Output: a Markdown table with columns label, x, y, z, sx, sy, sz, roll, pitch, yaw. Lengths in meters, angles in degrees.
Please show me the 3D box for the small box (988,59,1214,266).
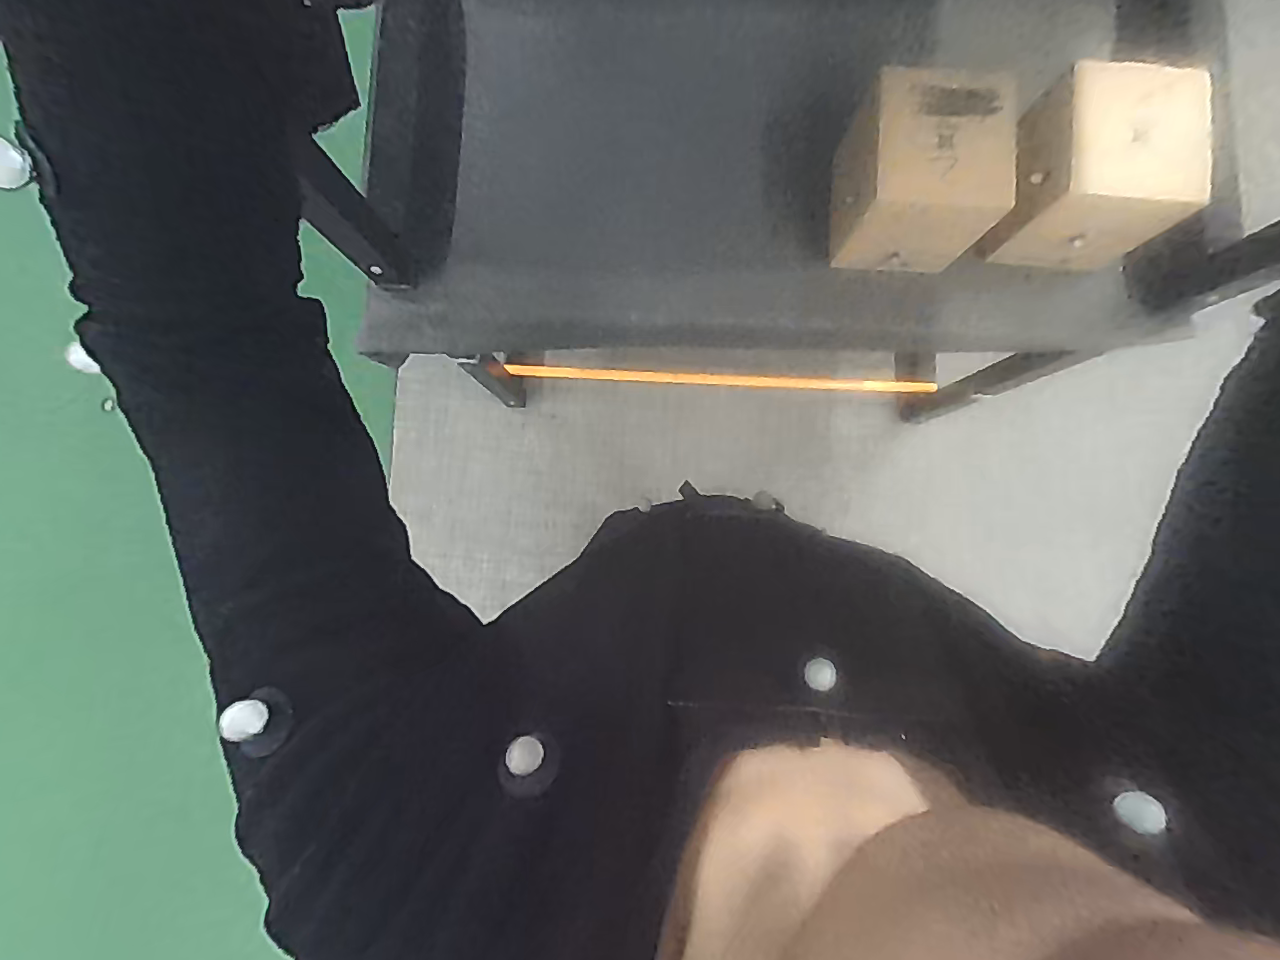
| label | x | y | z | sx | sy | sz | roll | pitch | yaw |
| --- | --- | --- | --- | --- | --- | --- | --- | --- | --- |
| small box | 0.600 | -0.410 | 0.725 | 0.168 | 0.176 | 0.179 | 6 | 84 | 1 |
